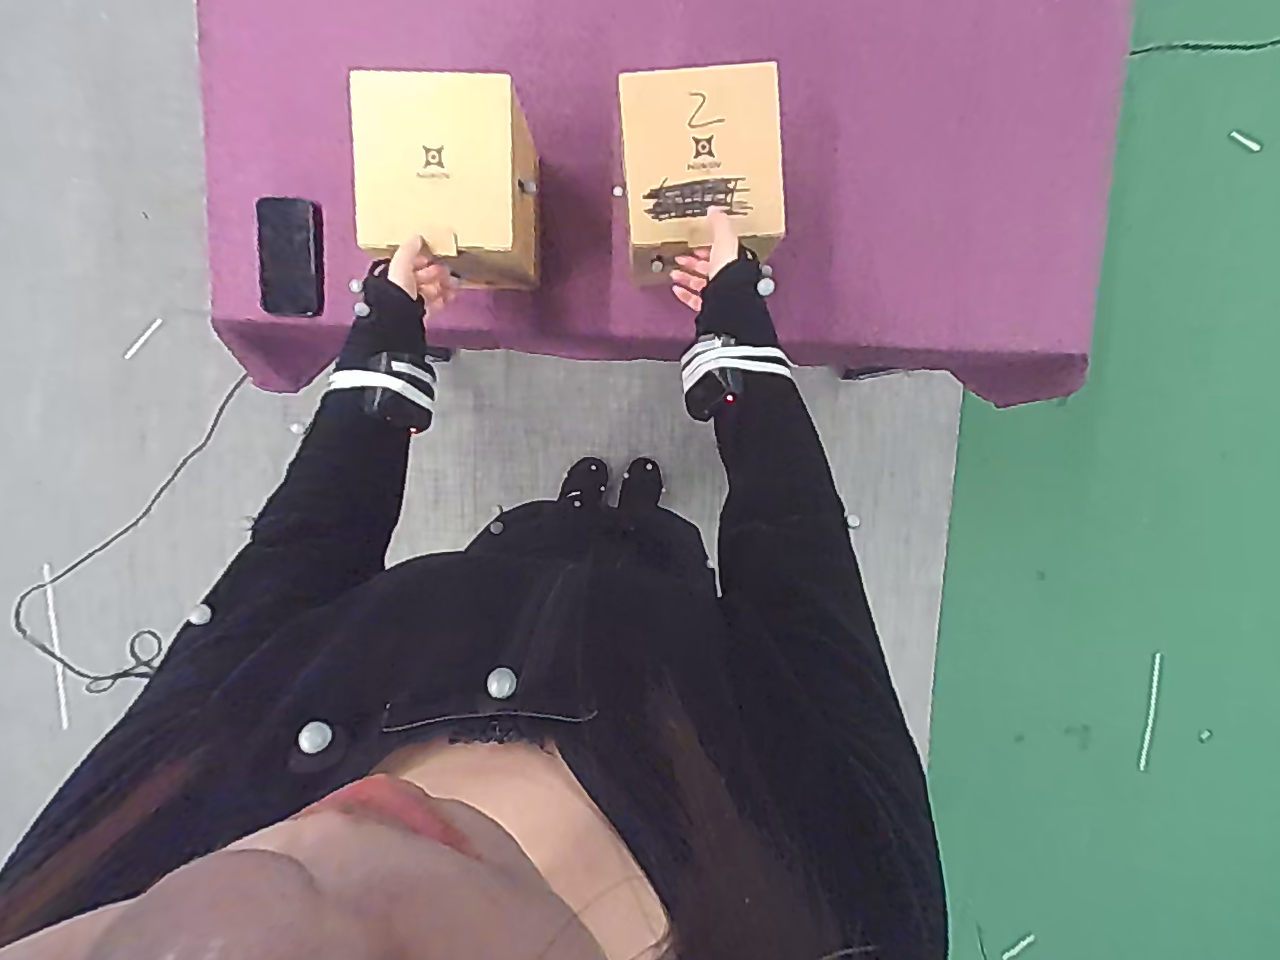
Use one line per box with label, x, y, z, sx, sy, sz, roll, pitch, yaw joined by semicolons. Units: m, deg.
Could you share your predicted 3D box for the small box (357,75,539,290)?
small box;-0.217;-0.341;0.650;0.168;0.176;0.179;1;97;-1
